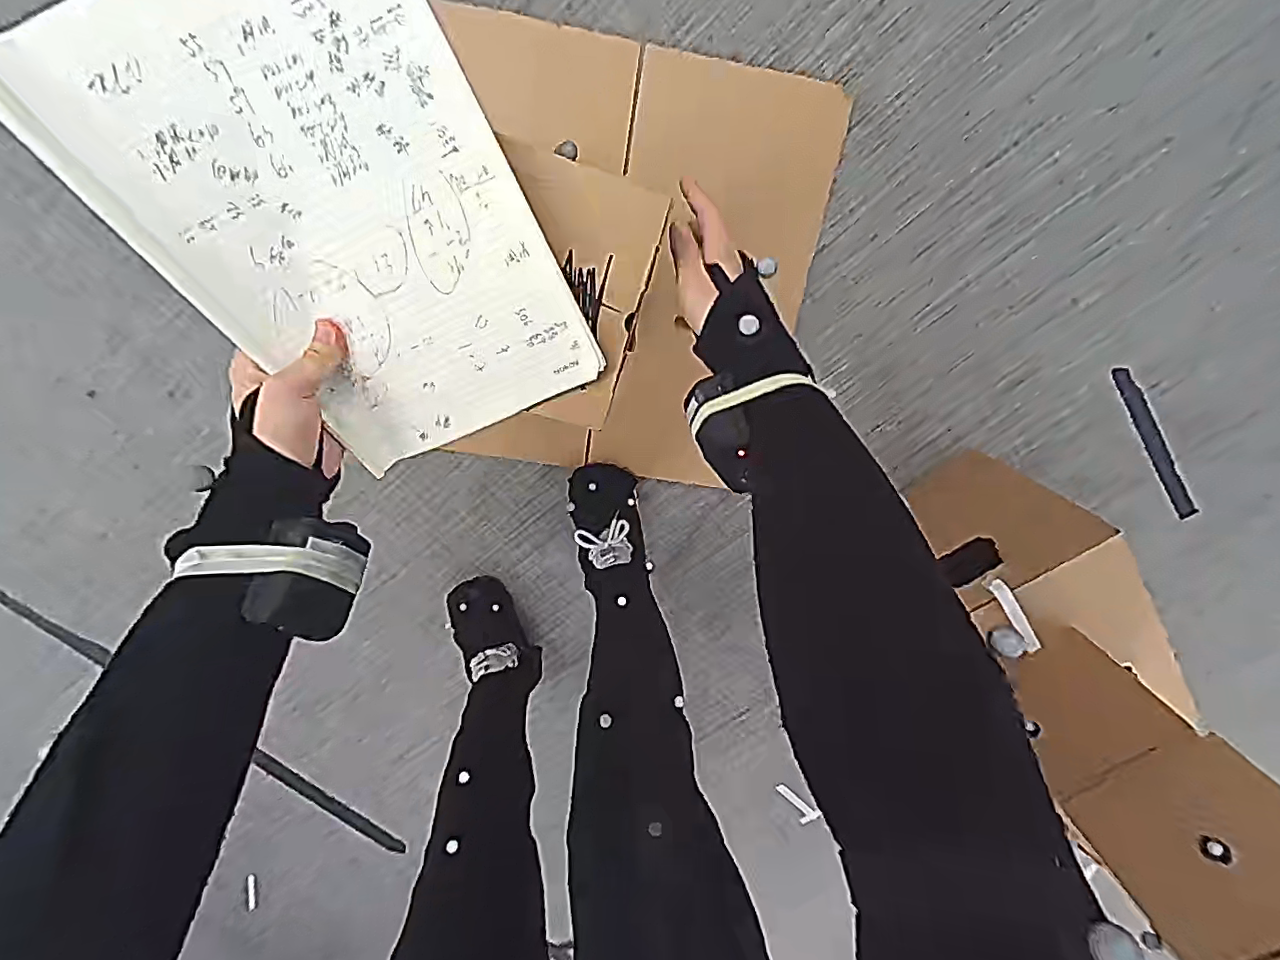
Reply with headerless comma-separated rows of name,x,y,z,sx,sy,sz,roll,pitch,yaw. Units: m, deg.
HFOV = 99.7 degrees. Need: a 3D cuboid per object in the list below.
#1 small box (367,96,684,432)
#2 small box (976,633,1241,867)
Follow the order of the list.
small box,-0.082,-0.159,0.423,0.179,0.176,0.168,15,112,-10
small box,0.572,0.337,0.690,0.179,0.176,0.168,-40,110,14
